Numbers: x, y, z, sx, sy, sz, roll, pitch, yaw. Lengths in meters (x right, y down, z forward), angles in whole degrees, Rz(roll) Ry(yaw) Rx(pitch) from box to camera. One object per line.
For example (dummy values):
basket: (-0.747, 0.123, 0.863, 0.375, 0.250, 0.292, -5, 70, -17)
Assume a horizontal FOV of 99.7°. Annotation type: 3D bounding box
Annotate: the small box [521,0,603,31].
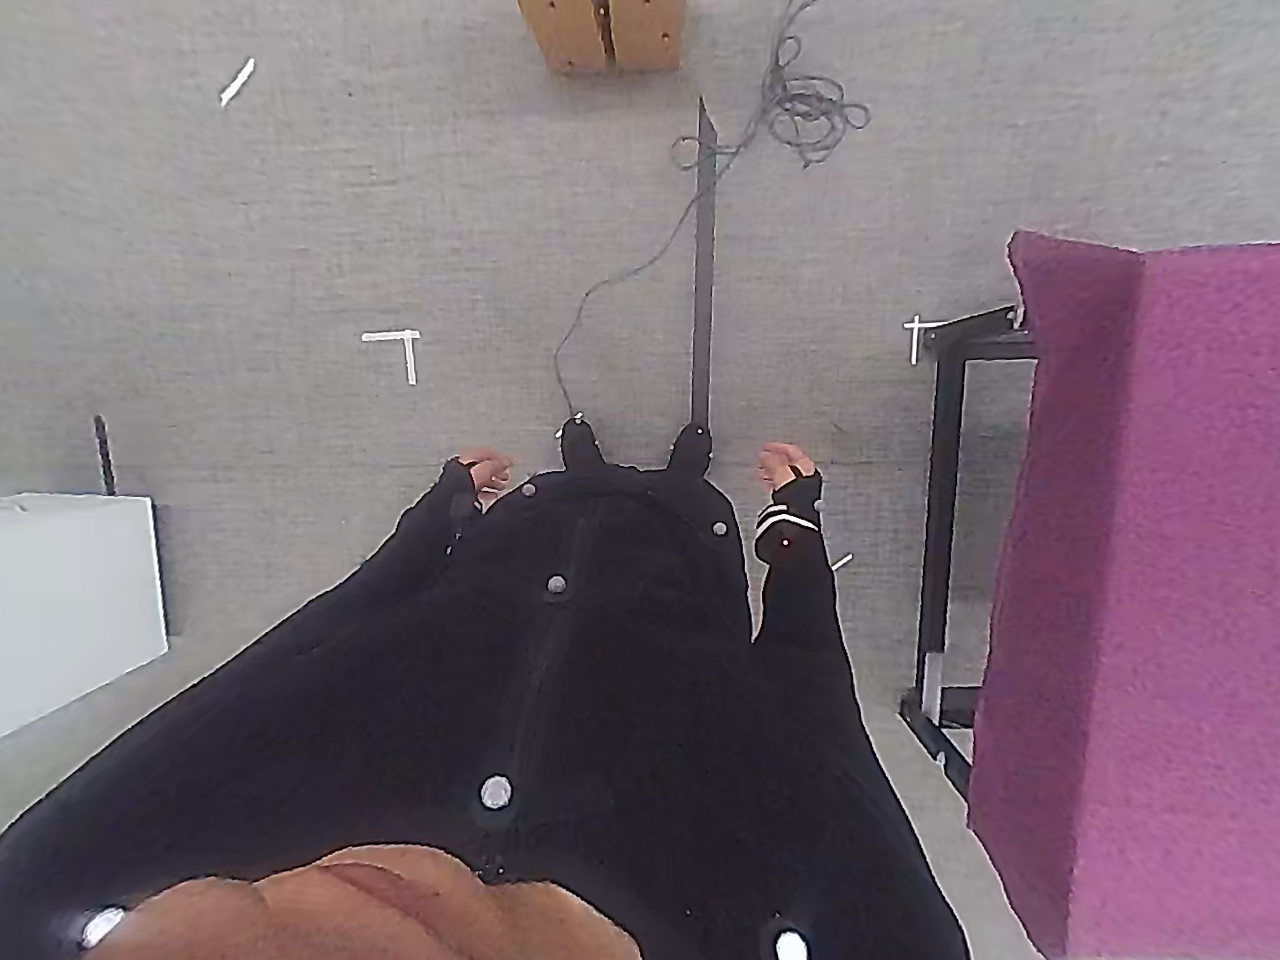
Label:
small box: (-0.175, -1.142, 1.201, 0.179, 0.176, 0.168, 5, 98, 5)
